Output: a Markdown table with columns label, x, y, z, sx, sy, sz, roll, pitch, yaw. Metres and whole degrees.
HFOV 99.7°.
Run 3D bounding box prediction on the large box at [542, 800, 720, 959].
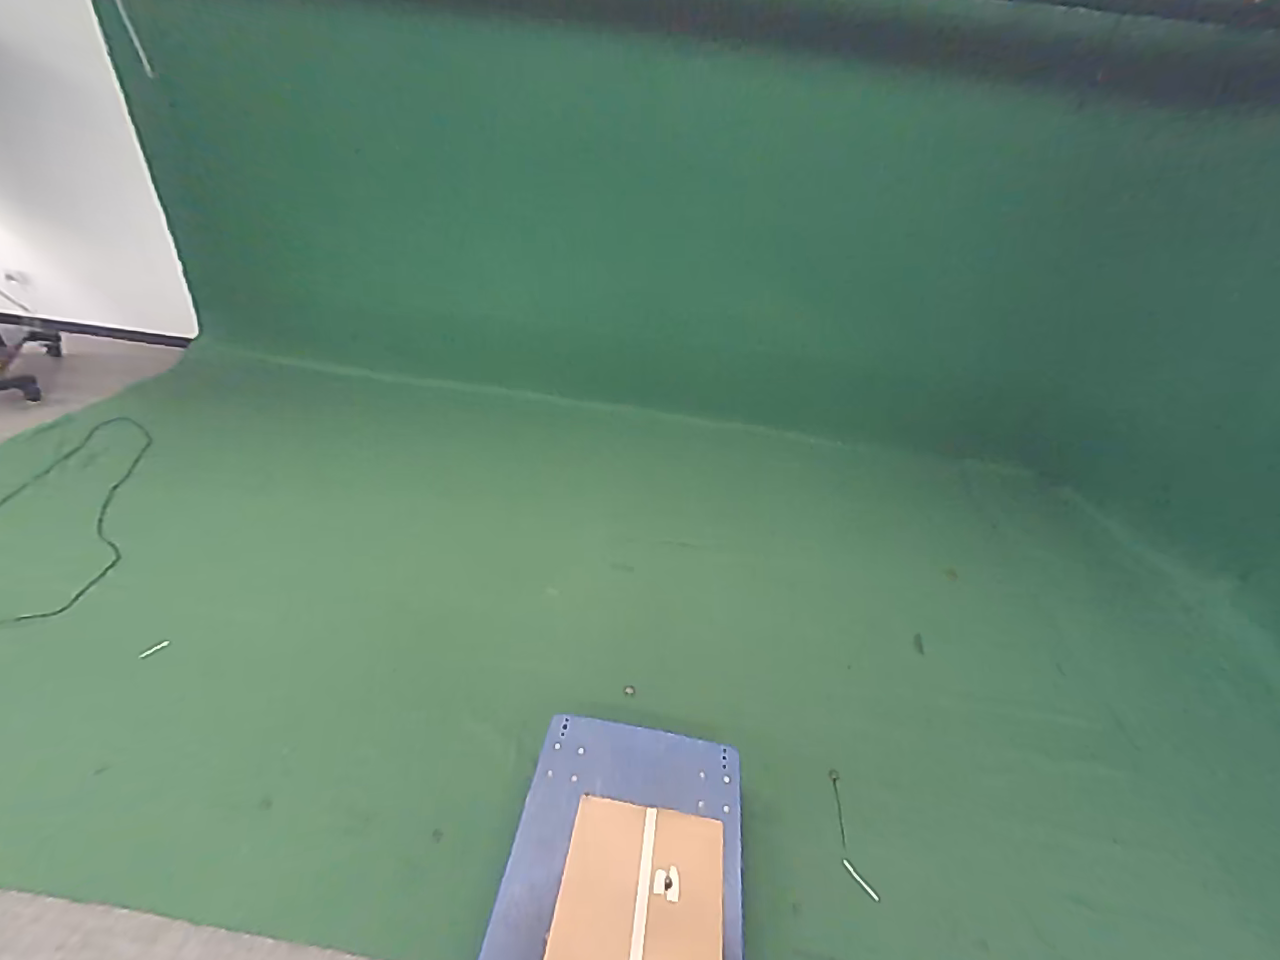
| label | x | y | z | sx | sy | sz | roll | pitch | yaw |
| --- | --- | --- | --- | --- | --- | --- | --- | --- | --- |
| large box | -0.022 | 0.941 | 1.069 | 0.320 | 0.320 | 0.408 | 10 | 31 | 3 |
